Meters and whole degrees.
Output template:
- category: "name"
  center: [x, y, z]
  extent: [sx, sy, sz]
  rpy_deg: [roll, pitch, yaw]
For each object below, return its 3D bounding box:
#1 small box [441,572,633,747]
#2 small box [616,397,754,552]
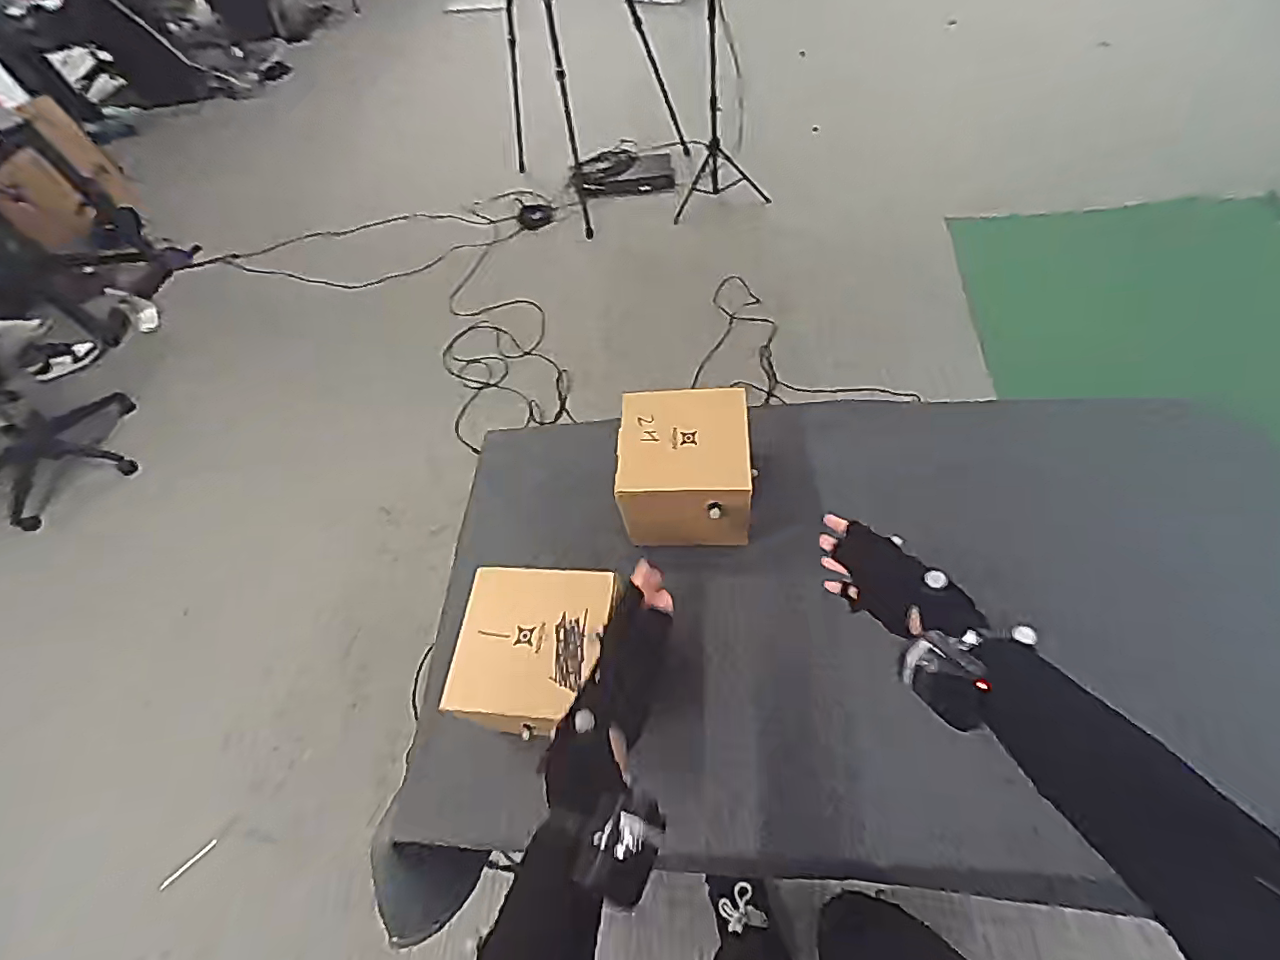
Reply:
- category: "small box"
  center: [-0.109, 0.227, 0.669]
  extent: [0.179, 0.176, 0.168]
  rpy_deg: [1, 57, 10]
- category: "small box"
  center: [0.070, -0.003, 0.787]
  extent: [0.179, 0.176, 0.168]
  rpy_deg: [-1, 58, 8]
